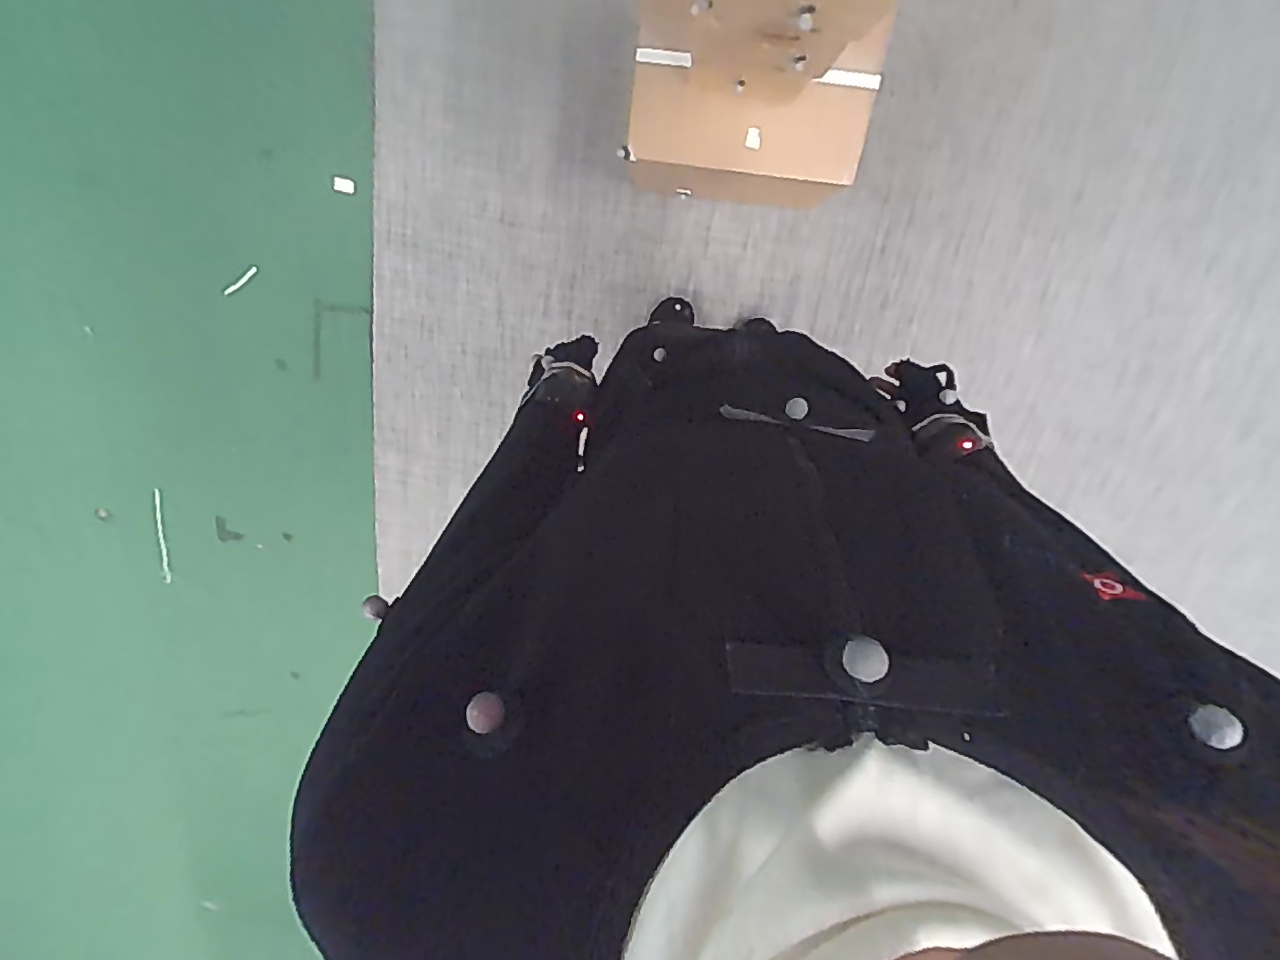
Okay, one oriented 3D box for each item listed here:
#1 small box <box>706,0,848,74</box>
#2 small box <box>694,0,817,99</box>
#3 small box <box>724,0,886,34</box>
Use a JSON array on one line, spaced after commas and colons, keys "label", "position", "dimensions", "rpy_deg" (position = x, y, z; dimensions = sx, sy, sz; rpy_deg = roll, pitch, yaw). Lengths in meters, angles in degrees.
[{"label": "small box", "position": [0.174, -0.625, 0.661], "dimensions": [0.168, 0.176, 0.179], "rpy_deg": [6, 114, 2]}, {"label": "small box", "position": [0.180, -0.691, 0.810], "dimensions": [0.179, 0.176, 0.168], "rpy_deg": [8, 116, 1]}, {"label": "small box", "position": [0.174, -0.557, 0.512], "dimensions": [0.168, 0.176, 0.179], "rpy_deg": [6, 116, 2]}]
